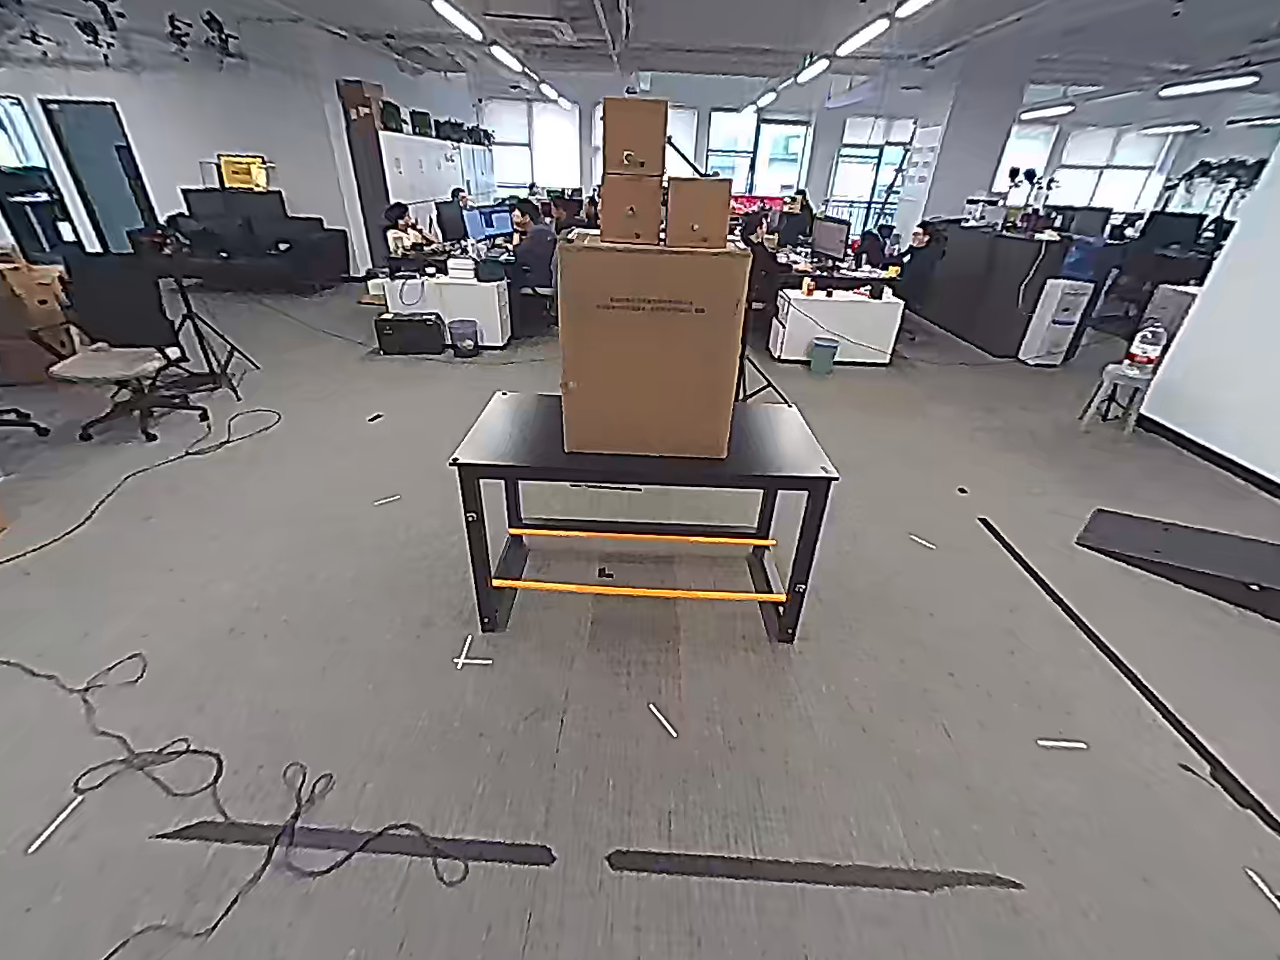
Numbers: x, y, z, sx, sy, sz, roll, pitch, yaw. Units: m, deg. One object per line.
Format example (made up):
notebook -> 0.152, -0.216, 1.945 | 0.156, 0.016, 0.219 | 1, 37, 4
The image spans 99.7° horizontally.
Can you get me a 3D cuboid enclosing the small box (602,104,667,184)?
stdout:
small box -> -0.015, -0.897, 1.449 | 0.168, 0.176, 0.179 | 2, 31, 0
